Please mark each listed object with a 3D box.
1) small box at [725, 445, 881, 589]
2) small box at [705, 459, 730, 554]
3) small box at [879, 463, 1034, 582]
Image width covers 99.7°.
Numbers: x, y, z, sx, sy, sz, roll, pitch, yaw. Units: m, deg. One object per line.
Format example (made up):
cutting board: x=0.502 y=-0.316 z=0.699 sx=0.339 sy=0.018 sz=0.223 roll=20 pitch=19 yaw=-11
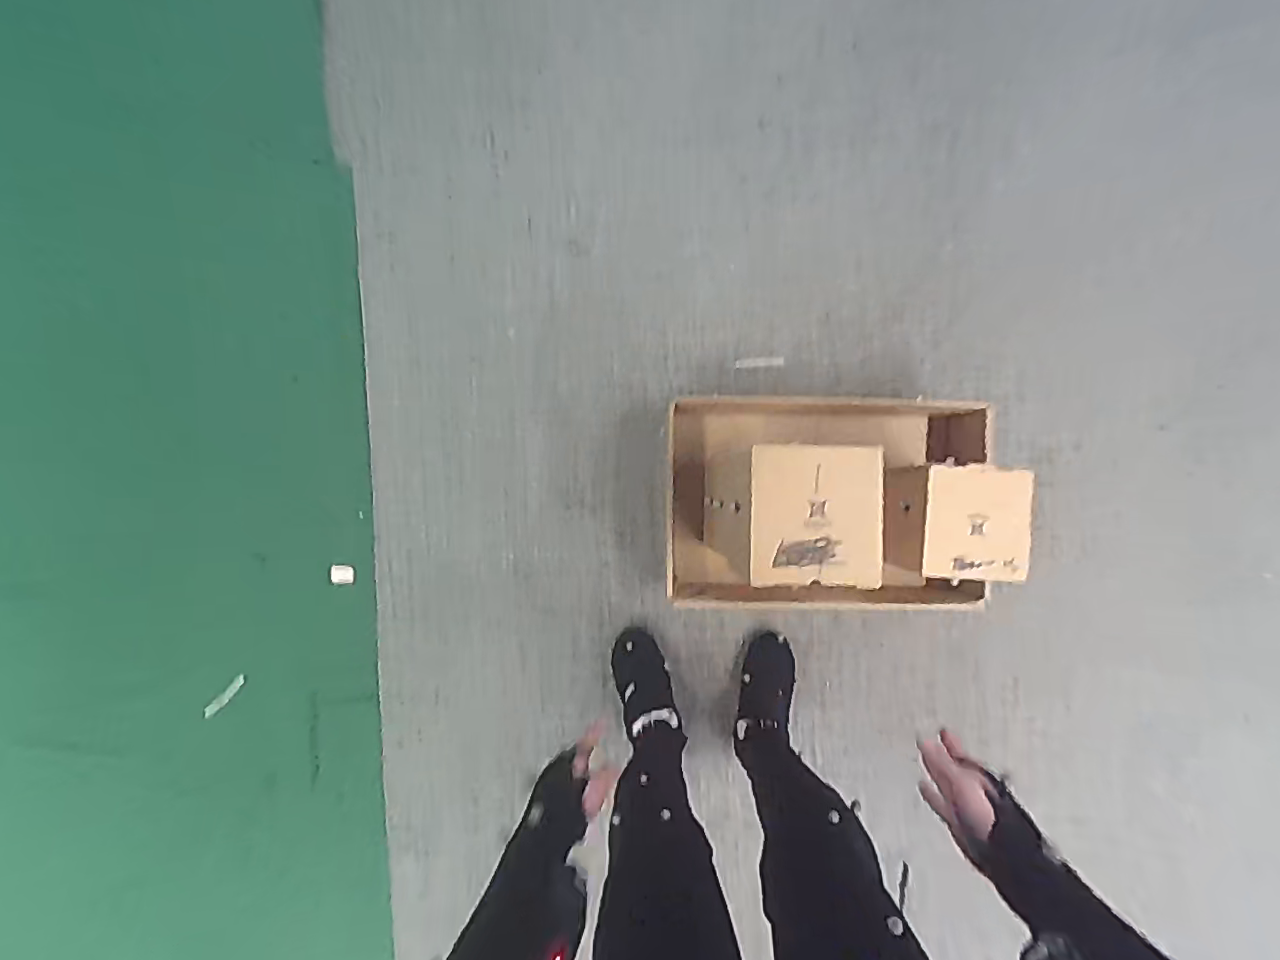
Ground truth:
small box: x=0.214 y=0.048 z=0.745 sx=0.168 sy=0.176 sz=0.179 roll=1 pitch=88 yaw=-1
small box: x=0.221 y=0.054 z=1.073 sx=0.168 sy=0.176 sz=0.179 roll=1 pitch=89 yaw=0
small box: x=0.519 y=0.068 z=0.910 sx=0.168 sy=0.176 sz=0.179 roll=4 pitch=89 yaw=0
